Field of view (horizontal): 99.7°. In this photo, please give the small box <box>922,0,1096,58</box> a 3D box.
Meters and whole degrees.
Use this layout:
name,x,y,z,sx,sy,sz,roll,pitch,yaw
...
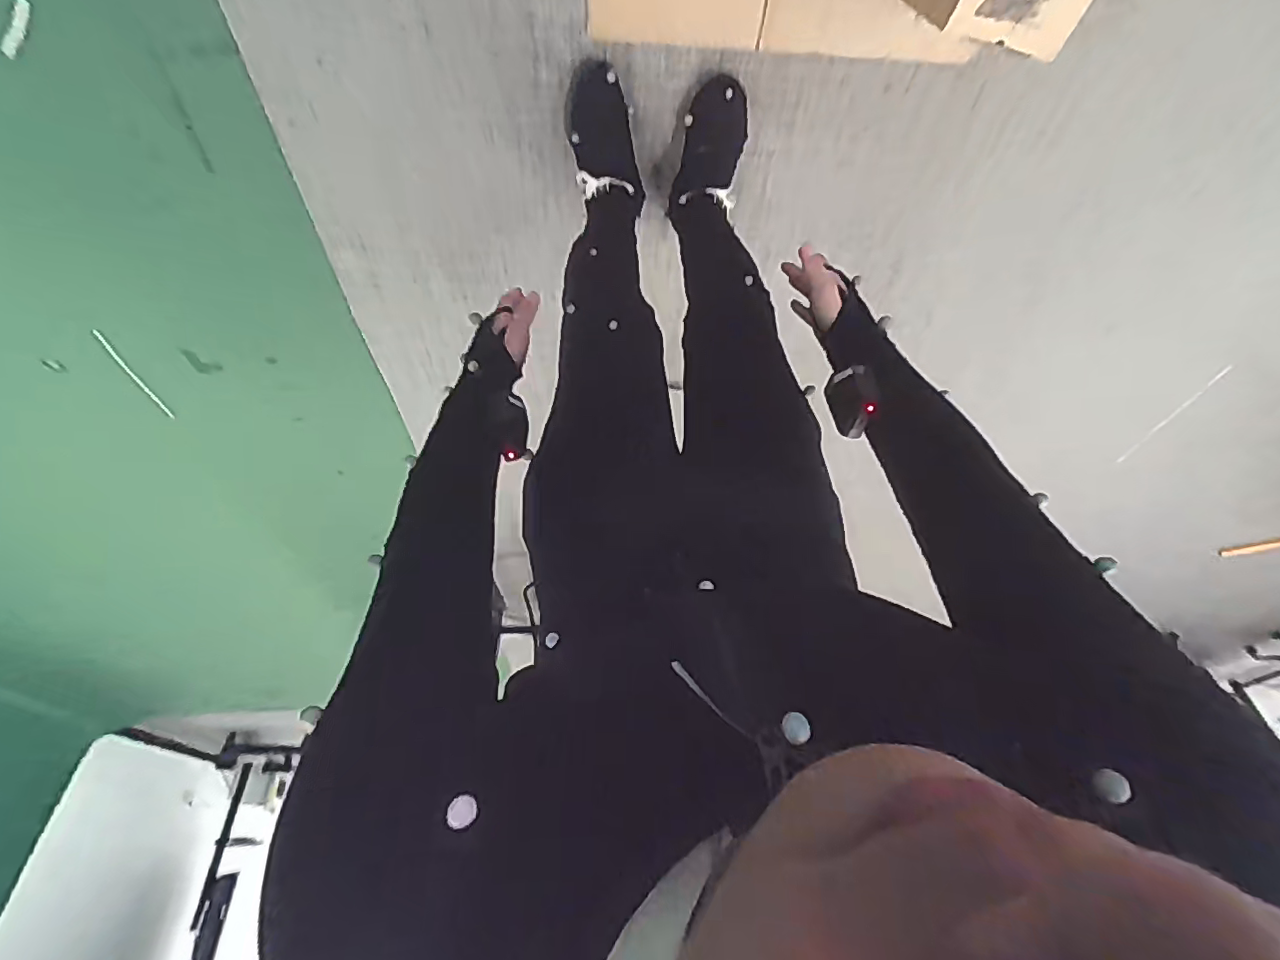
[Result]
name,x,y,z,sx,sy,sz,roll,pitch,yaw
small box,0.470,-0.665,0.660,0.168,0.176,0.179,6,141,-11
